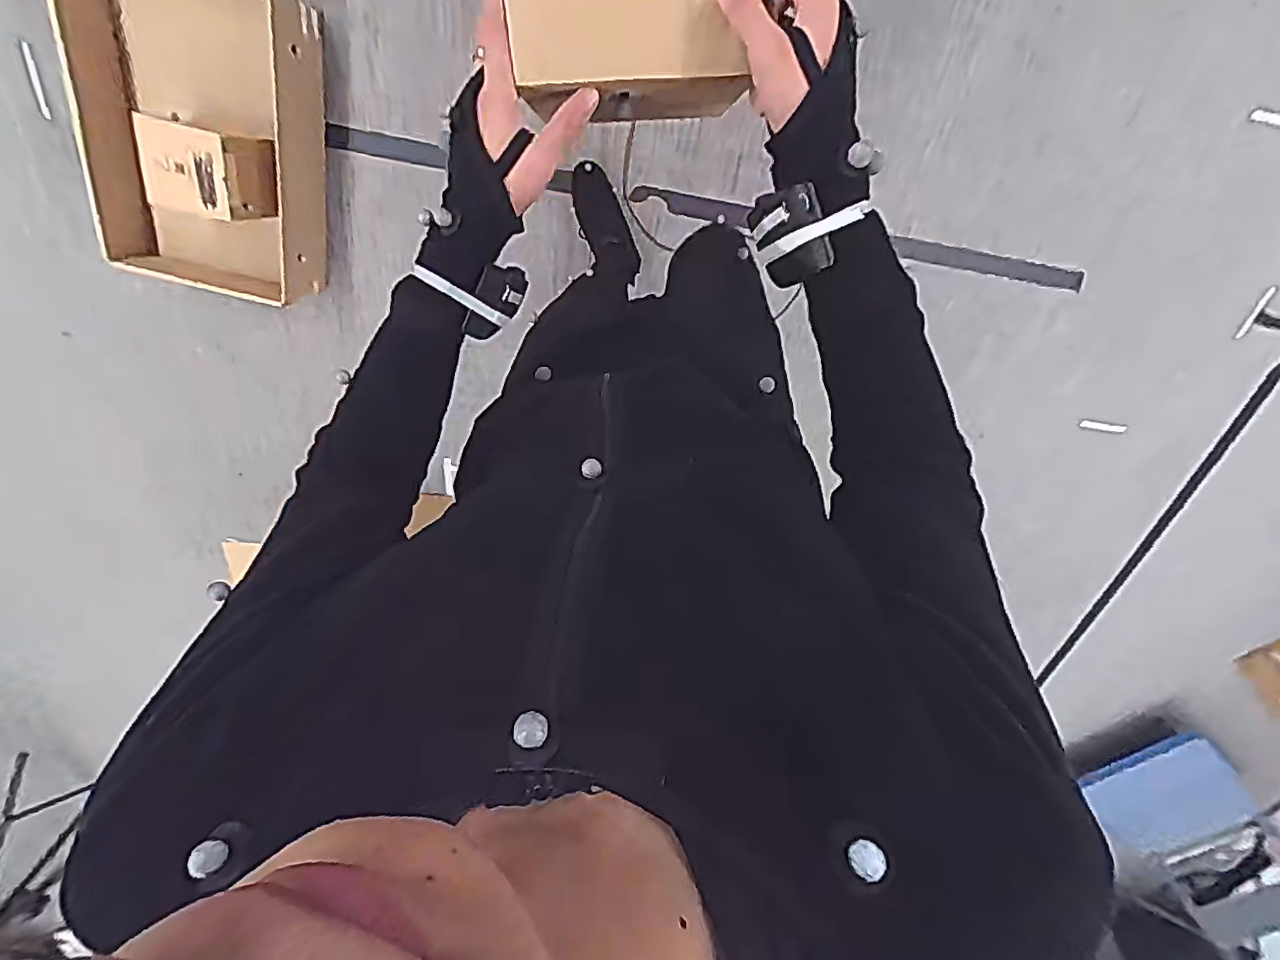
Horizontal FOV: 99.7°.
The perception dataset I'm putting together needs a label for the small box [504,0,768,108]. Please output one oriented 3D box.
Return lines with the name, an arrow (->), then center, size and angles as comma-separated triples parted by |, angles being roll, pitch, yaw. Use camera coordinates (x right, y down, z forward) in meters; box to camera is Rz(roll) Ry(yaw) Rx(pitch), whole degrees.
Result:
small box -> -0.005, -0.390, 0.404 | 0.179, 0.176, 0.168 | -3, 117, -1
